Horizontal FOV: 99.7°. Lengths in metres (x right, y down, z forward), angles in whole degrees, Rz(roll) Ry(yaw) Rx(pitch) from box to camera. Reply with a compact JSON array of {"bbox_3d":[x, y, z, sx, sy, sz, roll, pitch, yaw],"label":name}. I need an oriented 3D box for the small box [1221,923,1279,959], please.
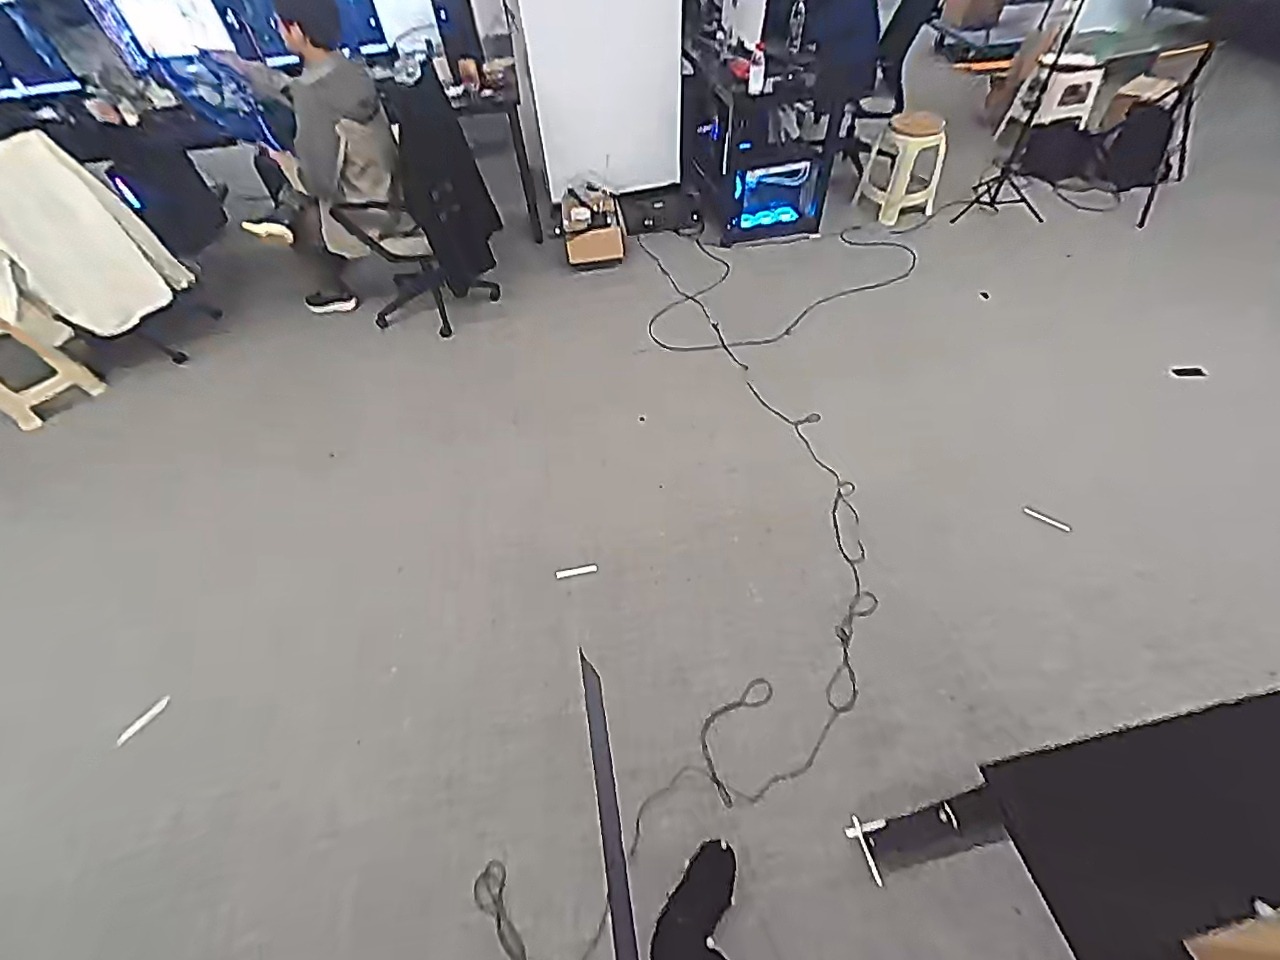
[{"bbox_3d":[0.738,0.533,0.517,0.179,0.176,0.168,-13,52,-5],"label":"small box"}]
